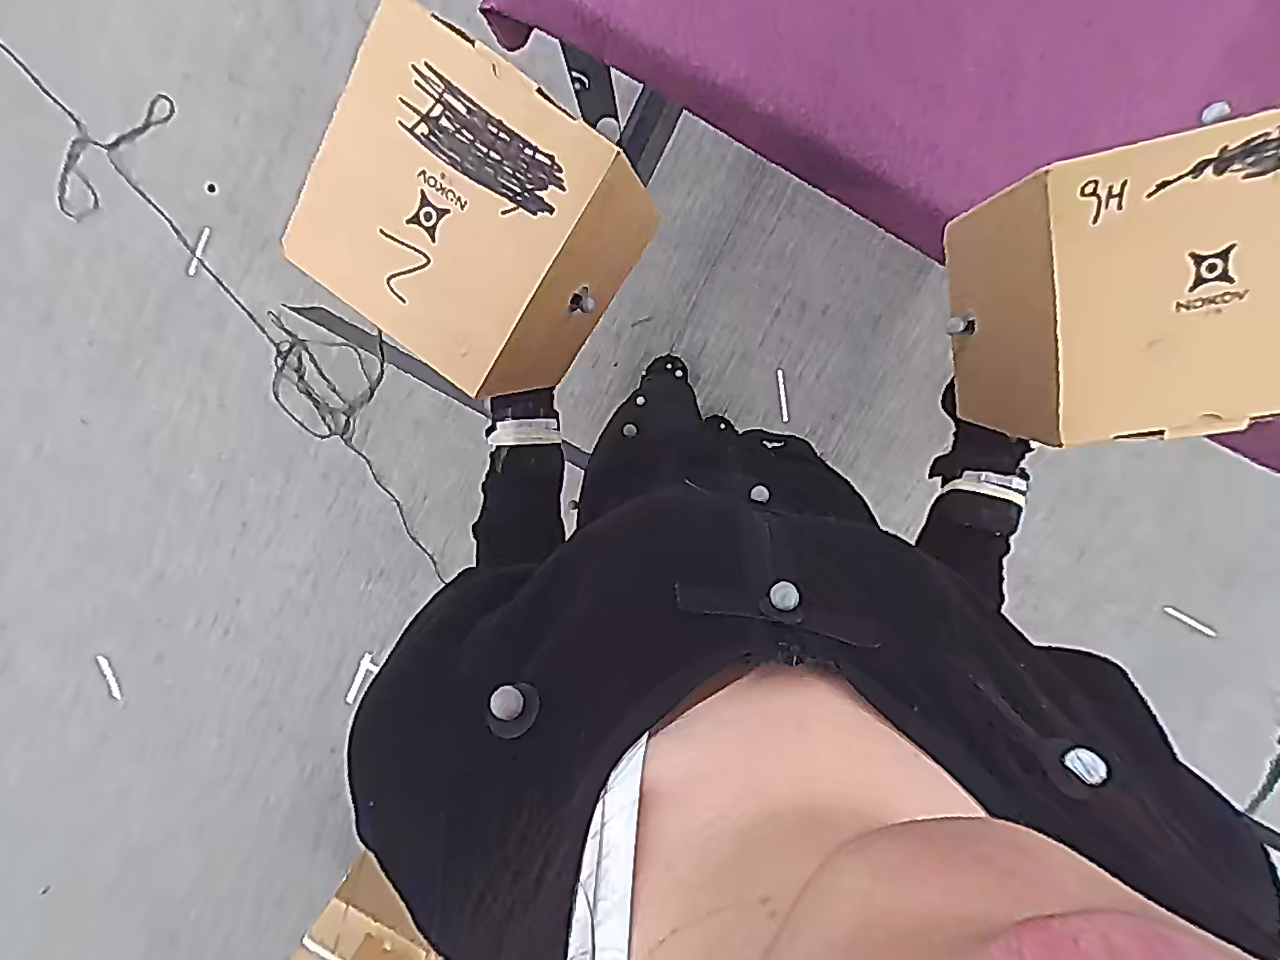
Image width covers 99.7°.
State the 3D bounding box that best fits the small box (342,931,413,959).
[{"bbox_3d":[-0.682,1.276,1.328,0.179,0.176,0.168,36,98,-2],"label":"small box"}]

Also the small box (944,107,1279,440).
[{"bbox_3d":[0.348,-0.140,0.404,0.168,0.176,0.179,-9,102,11],"label":"small box"}]
